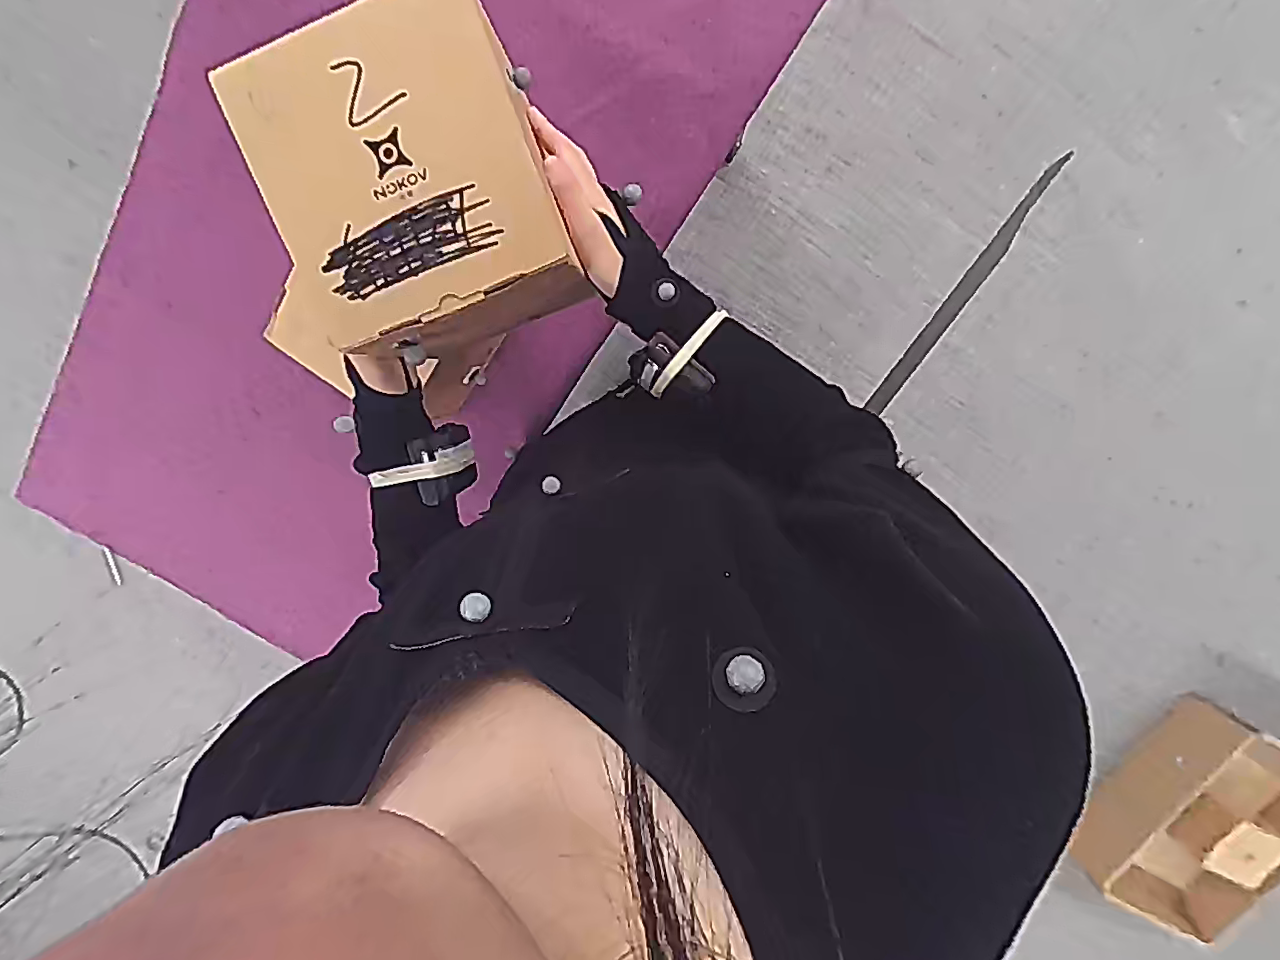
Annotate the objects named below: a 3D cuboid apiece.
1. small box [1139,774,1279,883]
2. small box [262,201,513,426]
[{"bbox_3d":[1.605,0.981,1.536,0.179,0.176,0.168,26,102,-4],"label":"small box"},{"bbox_3d":[-0.281,-0.186,0.640,0.179,0.176,0.168,35,103,-5],"label":"small box"}]
